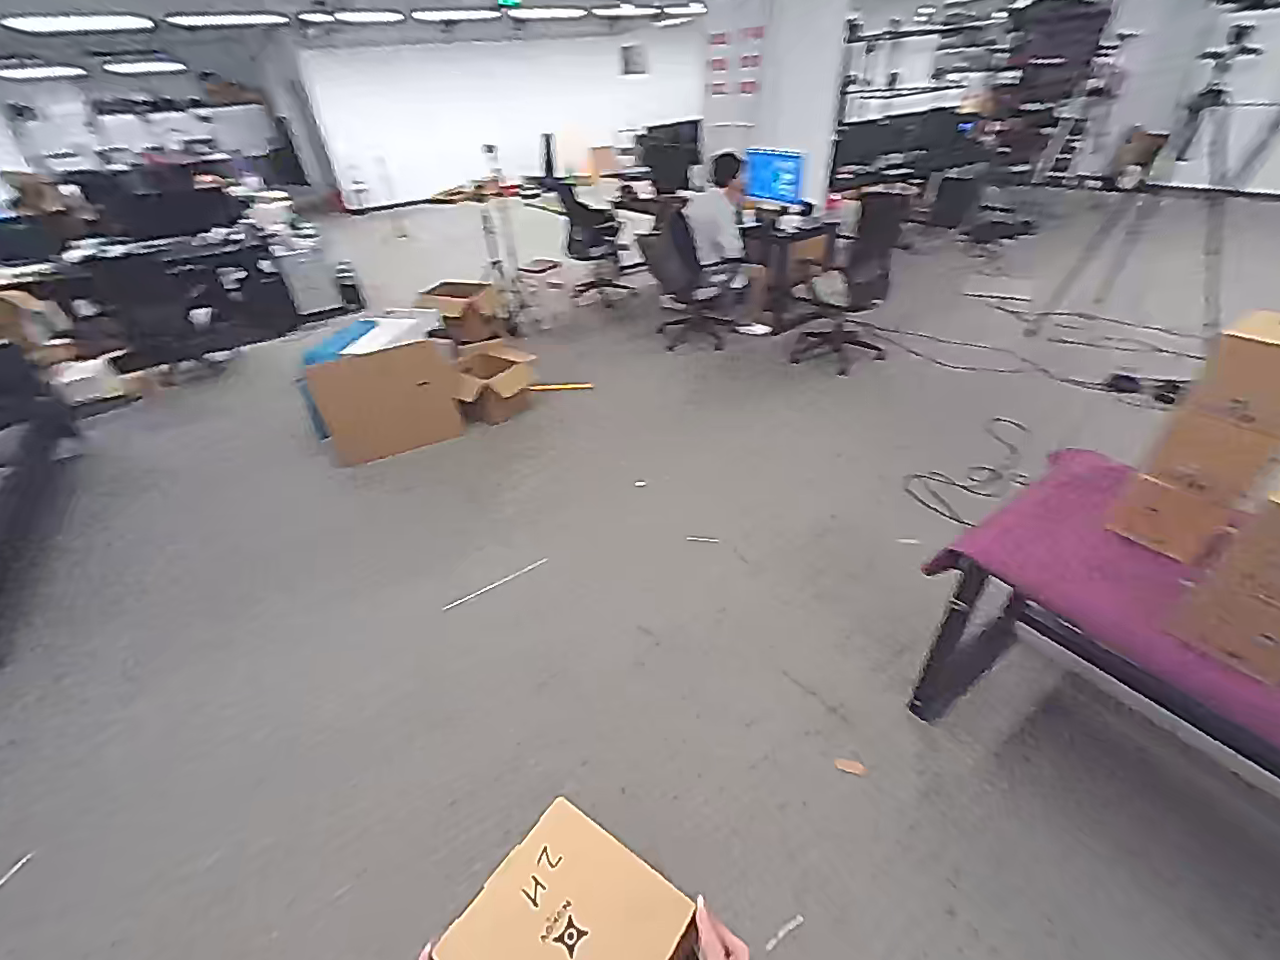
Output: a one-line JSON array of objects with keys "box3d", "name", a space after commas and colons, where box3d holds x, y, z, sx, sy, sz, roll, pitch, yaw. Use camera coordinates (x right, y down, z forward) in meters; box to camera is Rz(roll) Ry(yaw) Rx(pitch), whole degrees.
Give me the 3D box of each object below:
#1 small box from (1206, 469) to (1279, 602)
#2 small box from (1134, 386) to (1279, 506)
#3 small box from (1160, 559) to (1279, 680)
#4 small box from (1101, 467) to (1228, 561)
[{"box3d": [1.130, 0.103, 0.918, 0.179, 0.176, 0.168, -24, 42, -25], "name": "small box"}, {"box3d": [1.217, -0.074, 1.152, 0.179, 0.176, 0.168, -23, 39, -22], "name": "small box"}, {"box3d": [1.136, 0.236, 1.013, 0.179, 0.176, 0.168, -23, 40, -26], "name": "small box"}, {"box3d": [1.221, 0.057, 1.252, 0.179, 0.176, 0.168, -25, 40, -26], "name": "small box"}]
